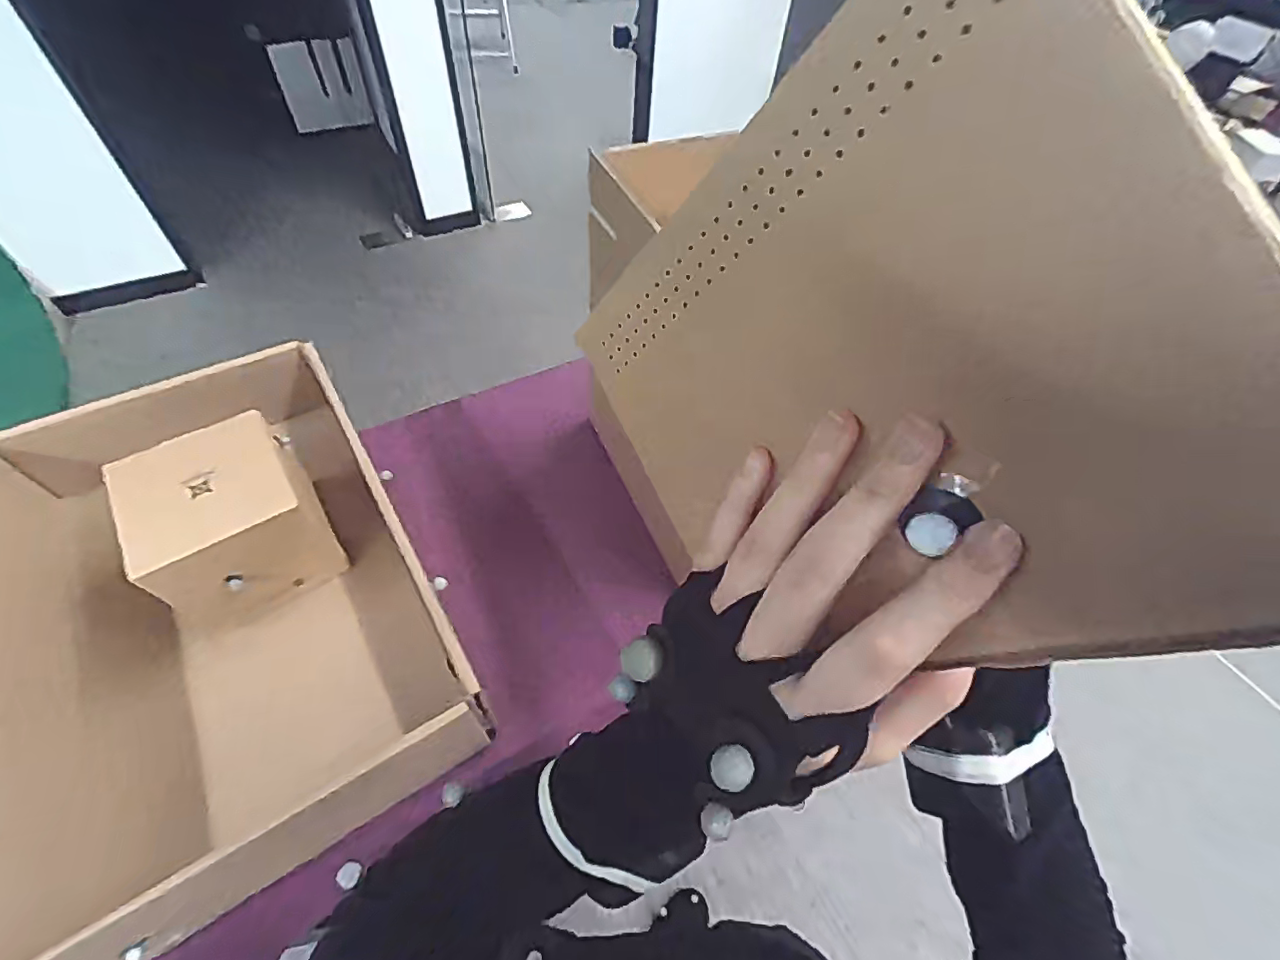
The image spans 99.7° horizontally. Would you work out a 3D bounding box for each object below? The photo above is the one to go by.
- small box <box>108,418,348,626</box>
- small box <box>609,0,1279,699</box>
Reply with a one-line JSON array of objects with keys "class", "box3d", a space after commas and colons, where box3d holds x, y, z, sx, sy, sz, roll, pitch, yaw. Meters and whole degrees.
[{"class": "small box", "box3d": [-0.501, 0.061, 0.680, 0.168, 0.176, 0.179, -29, 61, -22]}, {"class": "small box", "box3d": [0.115, -0.040, 0.213, 0.168, 0.179, 0.176, -23, 84, -40]}]
